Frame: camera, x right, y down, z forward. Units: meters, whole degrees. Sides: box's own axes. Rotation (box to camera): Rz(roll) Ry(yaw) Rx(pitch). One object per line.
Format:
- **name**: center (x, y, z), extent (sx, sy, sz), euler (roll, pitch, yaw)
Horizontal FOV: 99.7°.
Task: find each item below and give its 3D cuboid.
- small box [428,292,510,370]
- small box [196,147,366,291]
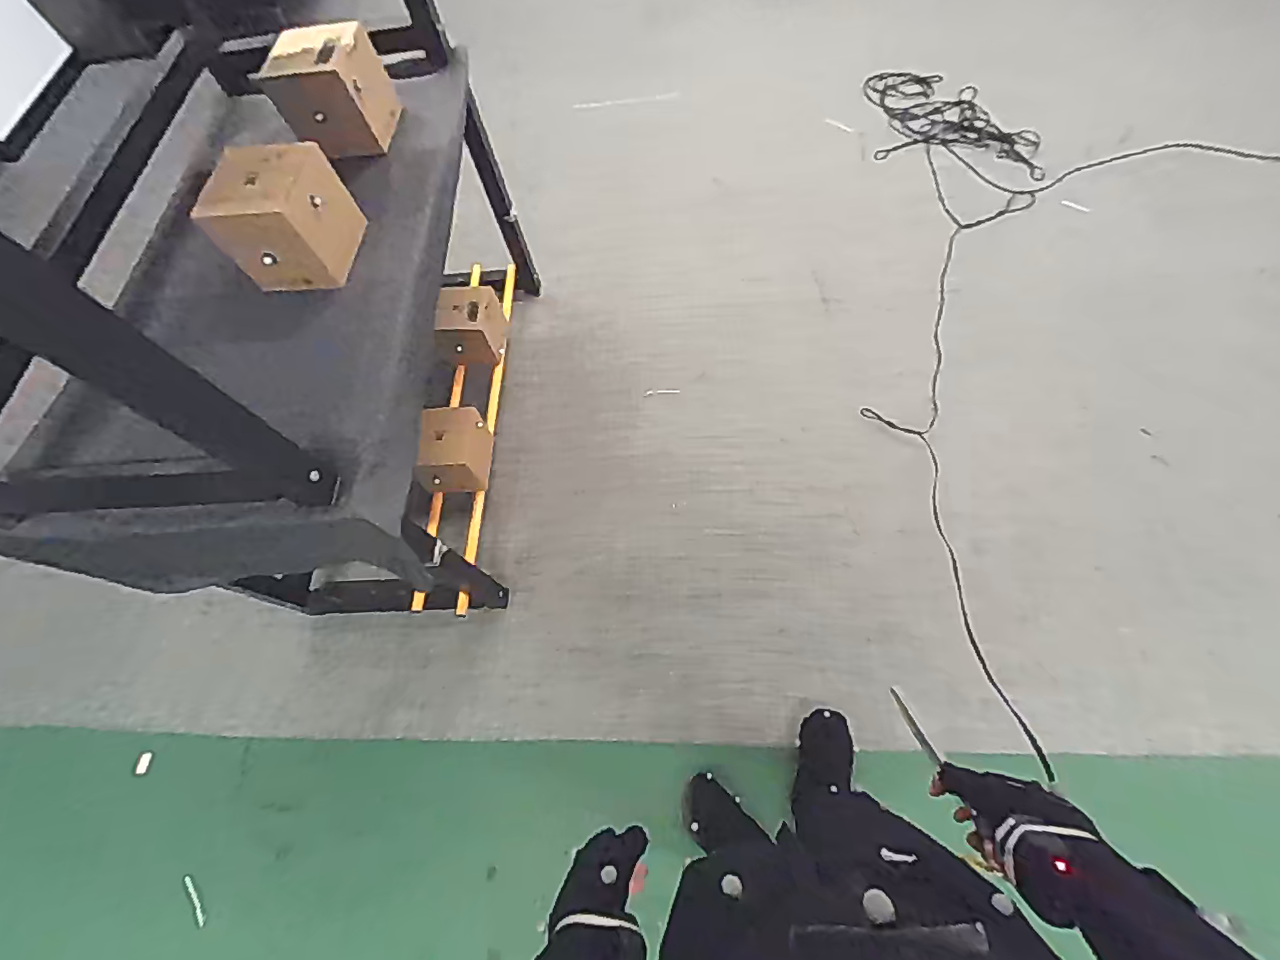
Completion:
- **small box**: center (-0.513, -0.451, 1.651), extent (0.179, 0.176, 0.168), euler (1, 64, 7)
- **small box**: center (-0.628, -0.460, 0.974), extent (0.168, 0.176, 0.179), euler (0, 65, 7)
